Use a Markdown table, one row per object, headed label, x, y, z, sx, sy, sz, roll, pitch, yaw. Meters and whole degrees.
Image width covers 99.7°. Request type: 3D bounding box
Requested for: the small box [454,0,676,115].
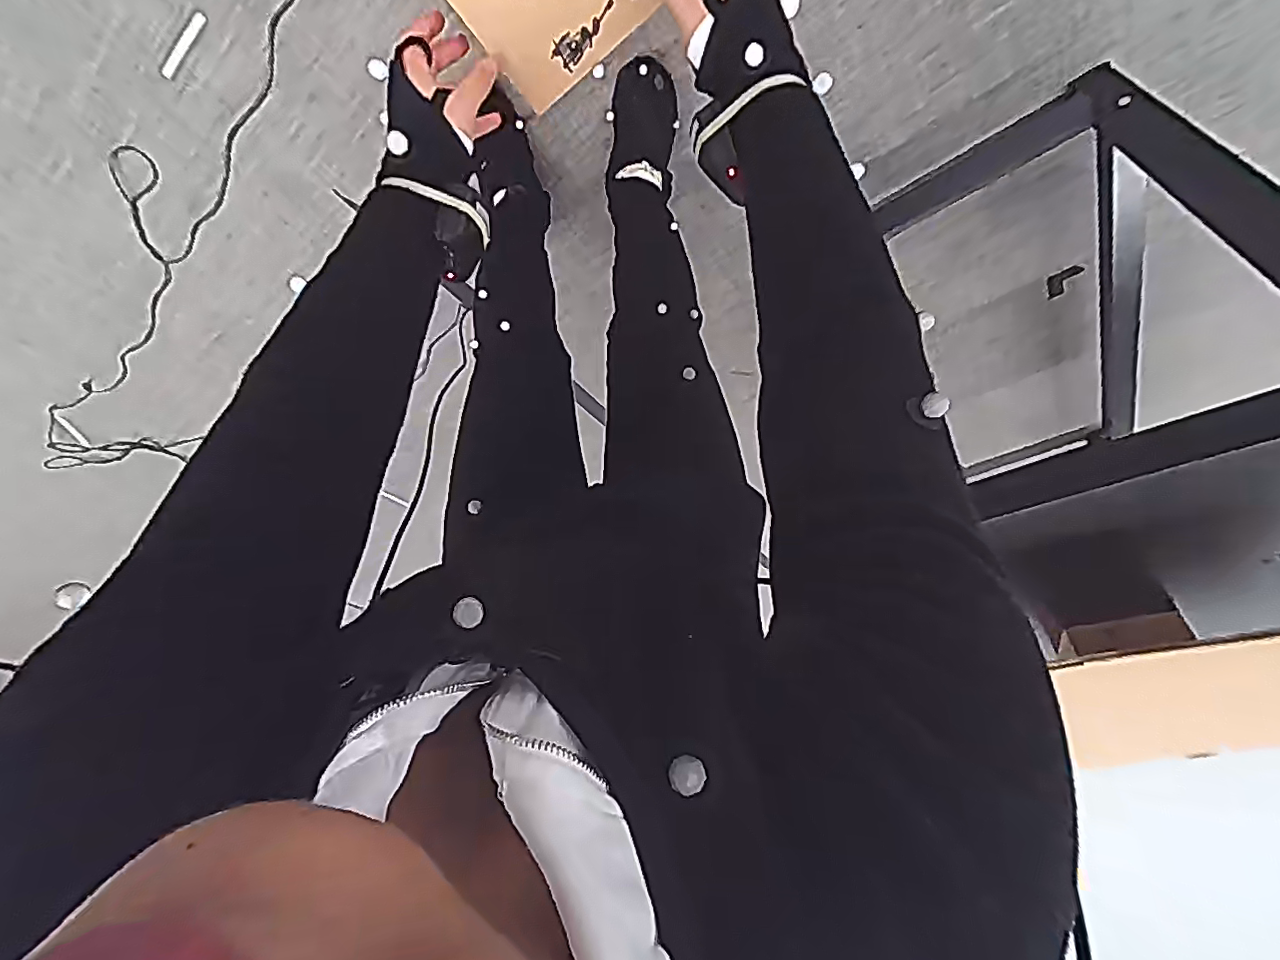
| label | x | y | z | sx | sy | sz | roll | pitch | yaw |
| --- | --- | --- | --- | --- | --- | --- | --- | --- | --- |
| small box | -0.077 | -0.477 | 0.468 | 0.168 | 0.176 | 0.179 | -23 | 138 | 27 |
